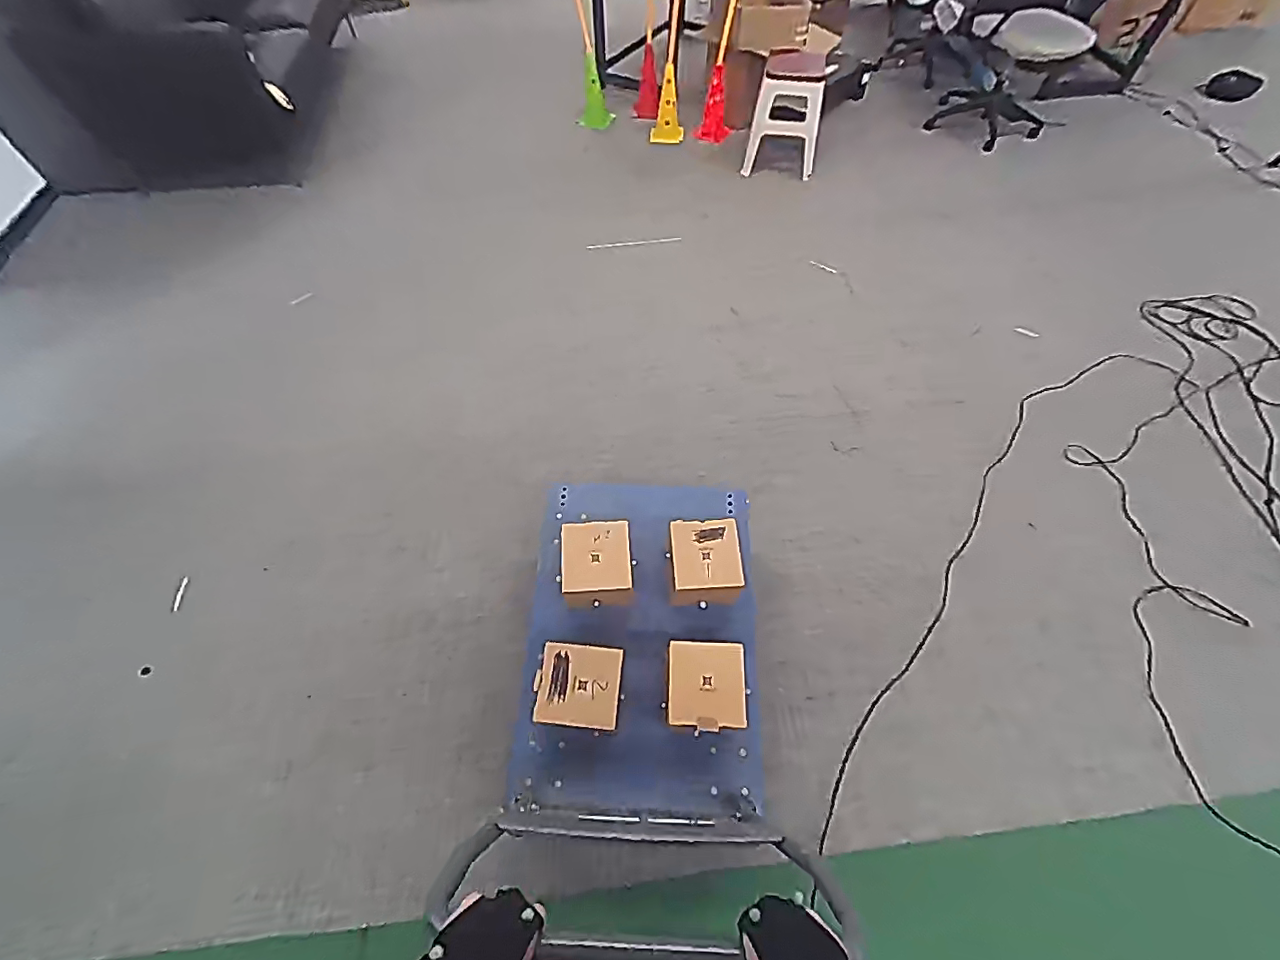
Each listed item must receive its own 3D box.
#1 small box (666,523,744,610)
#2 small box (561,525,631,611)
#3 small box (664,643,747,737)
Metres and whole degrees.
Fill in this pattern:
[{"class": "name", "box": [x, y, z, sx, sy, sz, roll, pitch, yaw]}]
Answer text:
[{"class": "small box", "box": [0.157, 0.222, 1.377, 0.168, 0.176, 0.179, -2, 63, -2]}, {"class": "small box", "box": [-0.109, 0.228, 1.366, 0.168, 0.176, 0.179, -2, 62, -4]}, {"class": "small box", "box": [0.143, 0.483, 1.237, 0.168, 0.176, 0.179, 2, 62, 0]}]
